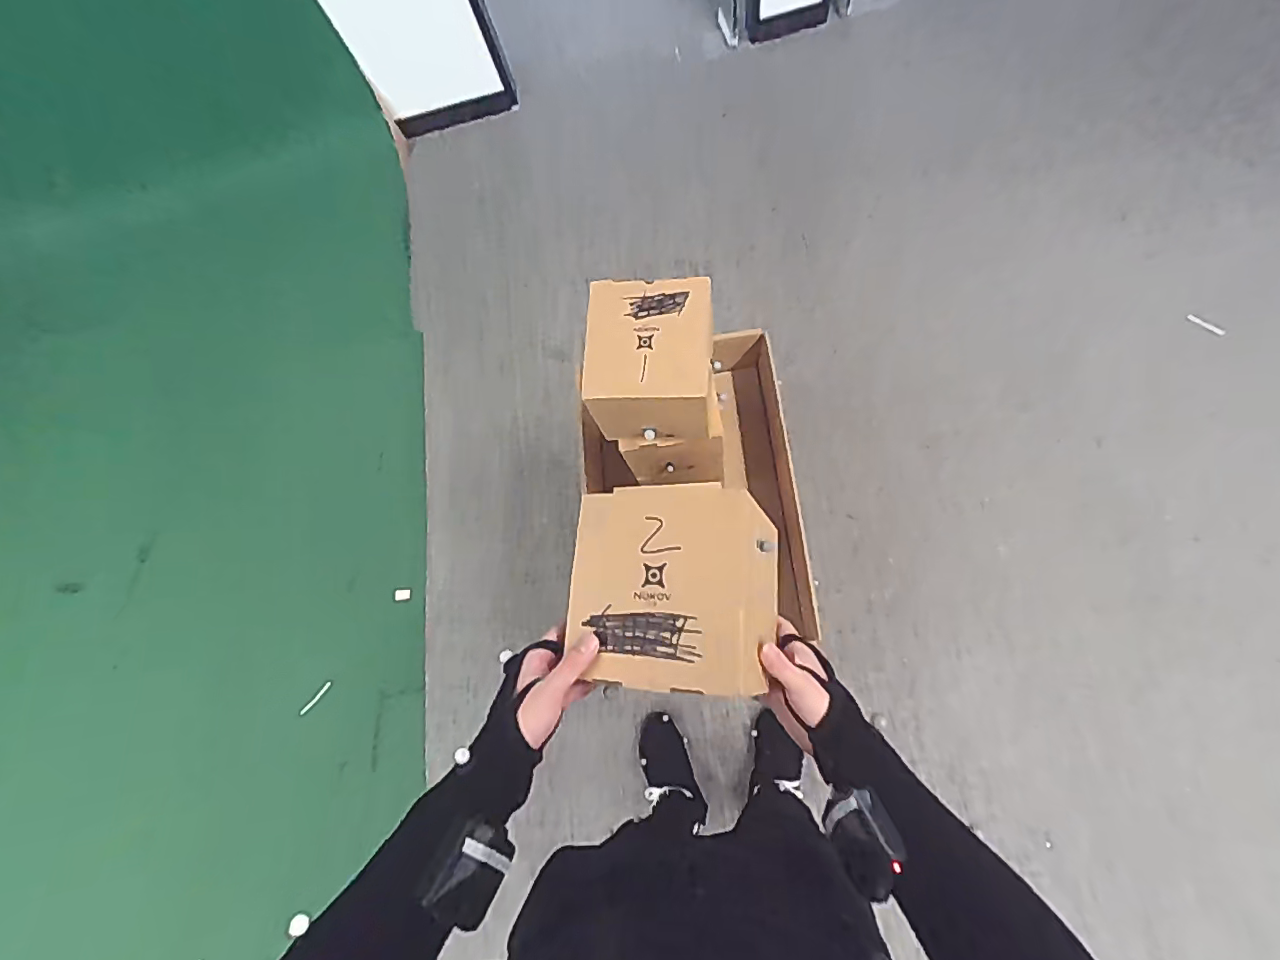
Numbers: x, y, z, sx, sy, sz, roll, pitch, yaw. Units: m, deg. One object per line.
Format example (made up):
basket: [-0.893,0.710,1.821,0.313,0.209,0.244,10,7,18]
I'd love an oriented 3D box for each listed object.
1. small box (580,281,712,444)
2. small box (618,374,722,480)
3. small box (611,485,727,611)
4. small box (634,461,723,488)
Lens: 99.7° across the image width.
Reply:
small box: [0.019,-0.164,0.790,0.168,0.176,0.179,1,75,10]
small box: [0.049,-0.114,0.944,0.168,0.176,0.179,-8,73,6]
small box: [0.052,0.116,0.865,0.168,0.176,0.179,-2,71,8]
small box: [0.075,-0.071,1.097,0.168,0.176,0.179,-8,73,8]
